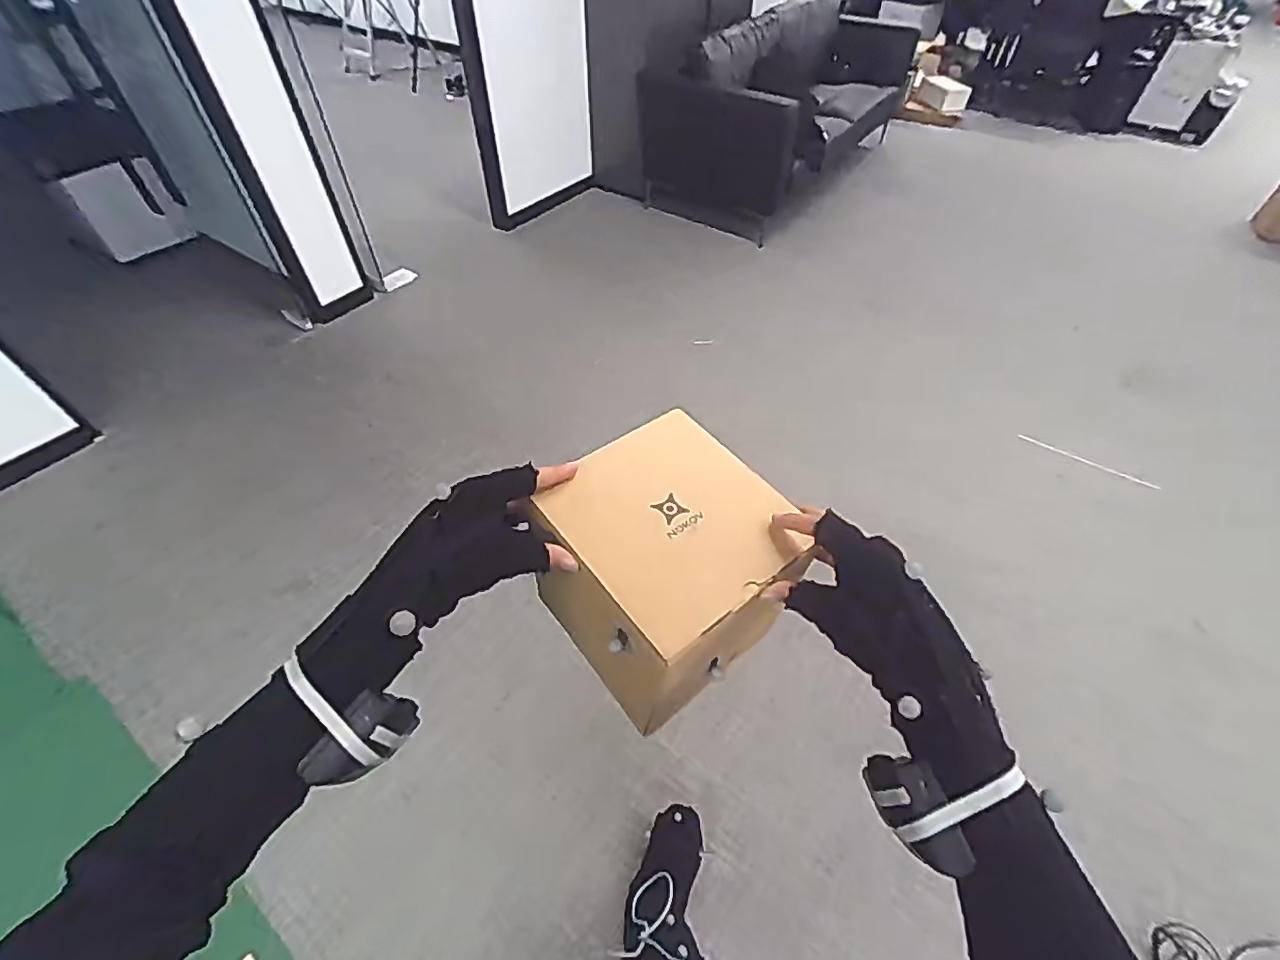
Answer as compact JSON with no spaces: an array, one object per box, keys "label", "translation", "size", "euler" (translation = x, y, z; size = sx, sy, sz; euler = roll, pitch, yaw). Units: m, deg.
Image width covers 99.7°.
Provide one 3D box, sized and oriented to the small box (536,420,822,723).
[{"label":"small box","translation":[0.022,0.083,0.490],"size":[0.168,0.176,0.179],"euler":[-29,59,-27]}]
